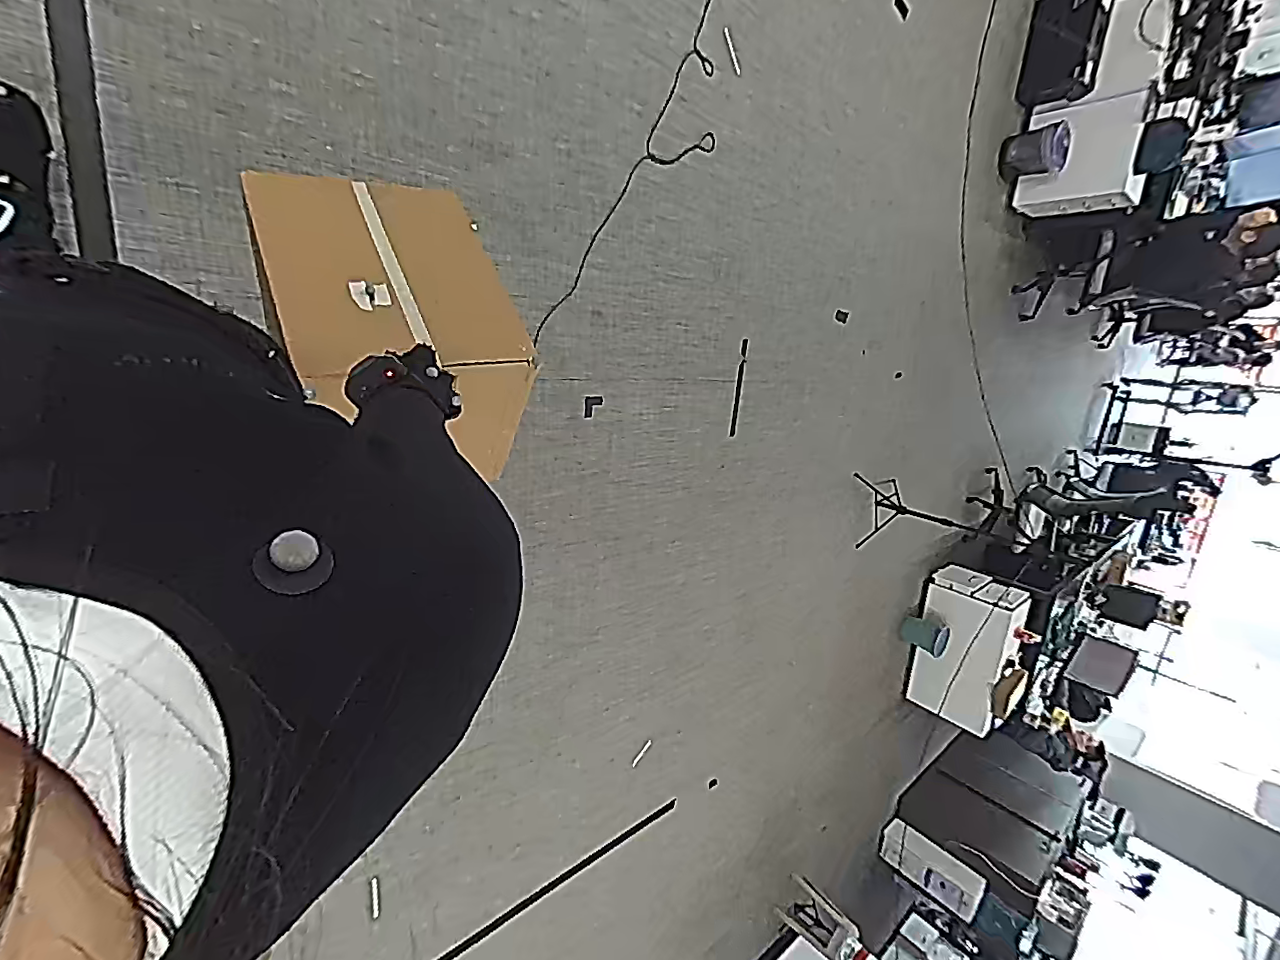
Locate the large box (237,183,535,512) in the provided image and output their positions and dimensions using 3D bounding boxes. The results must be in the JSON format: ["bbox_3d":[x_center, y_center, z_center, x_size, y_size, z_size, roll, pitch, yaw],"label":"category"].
[{"bbox_3d":[-0.428,-0.215,0.904,0.320,0.408,0.320,-14,154,-34],"label":"large box"}]
